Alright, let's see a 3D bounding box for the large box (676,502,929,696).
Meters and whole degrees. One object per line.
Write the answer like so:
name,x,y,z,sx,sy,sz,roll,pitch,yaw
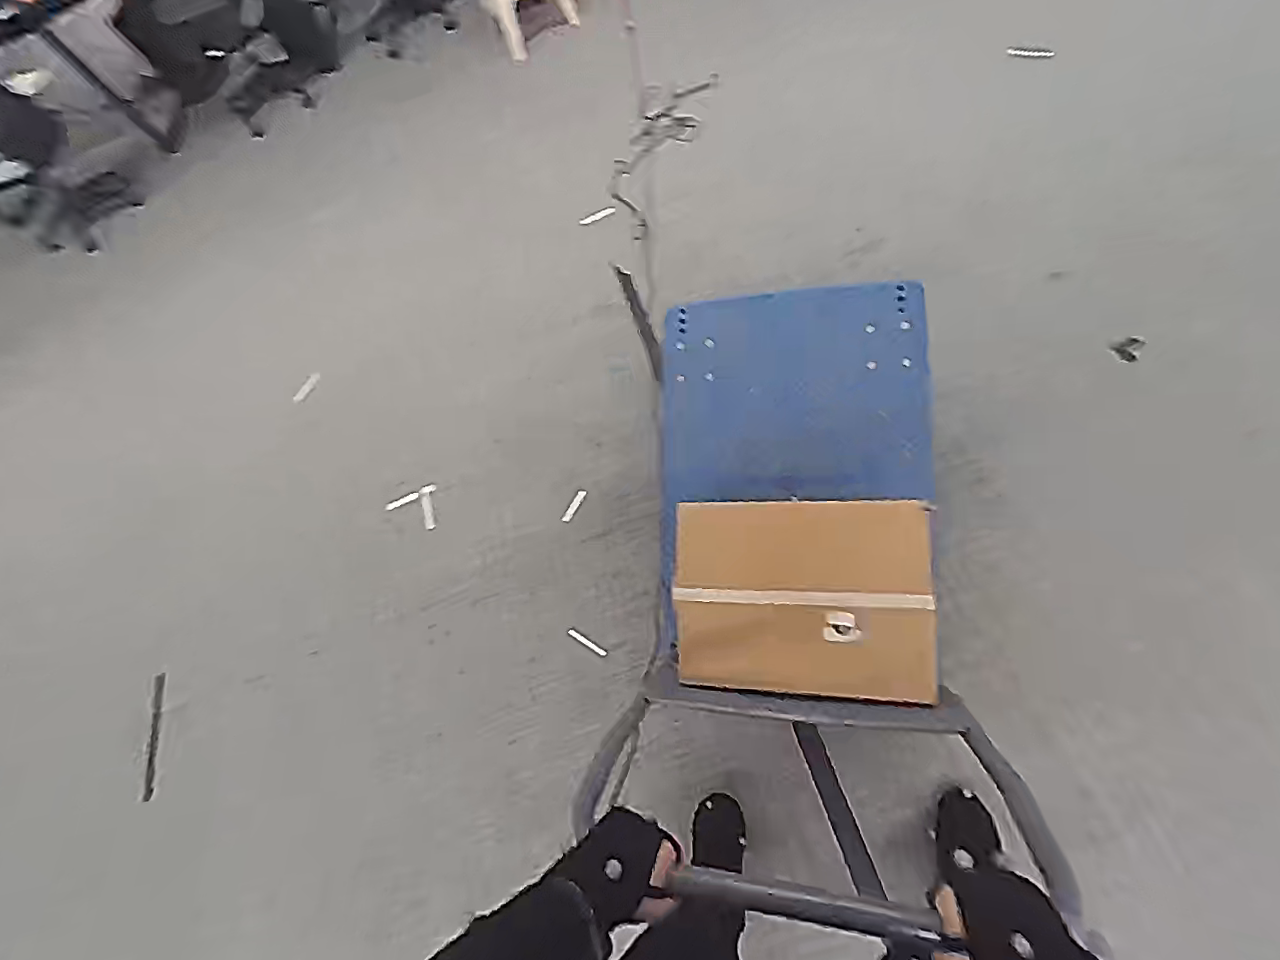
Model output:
large box,0.296,0.209,1.052,0.408,0.320,0.320,-1,86,15
